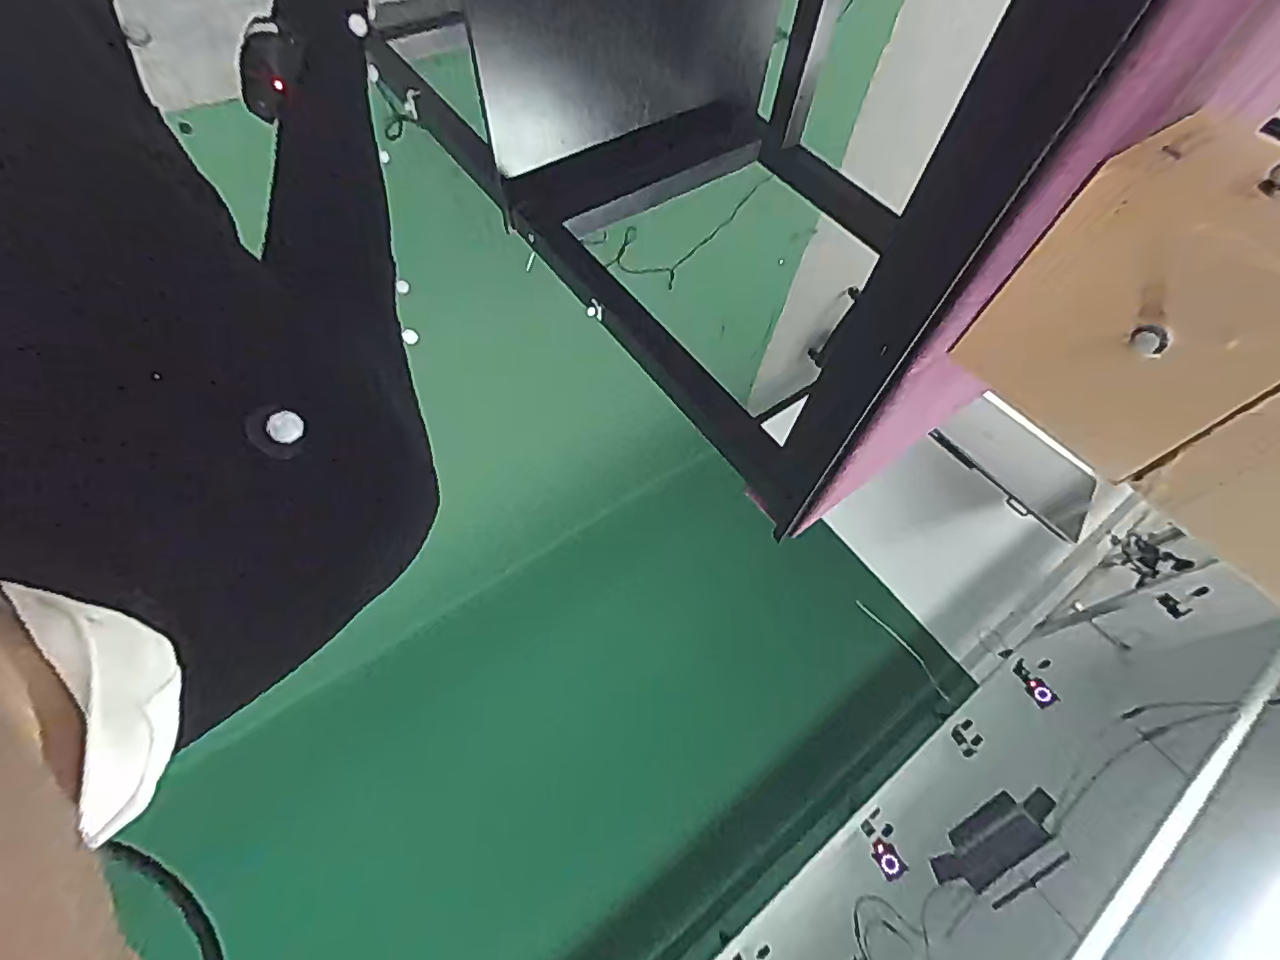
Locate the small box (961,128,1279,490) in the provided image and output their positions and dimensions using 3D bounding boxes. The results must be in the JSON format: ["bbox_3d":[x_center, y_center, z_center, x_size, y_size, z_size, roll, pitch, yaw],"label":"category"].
[{"bbox_3d":[0.392,-0.131,0.404,0.168,0.176,0.179,-29,155,-21],"label":"small box"}]

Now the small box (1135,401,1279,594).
[{"bbox_3d":[0.489,-0.015,0.340,0.168,0.176,0.179,-29,156,-22],"label":"small box"}]
